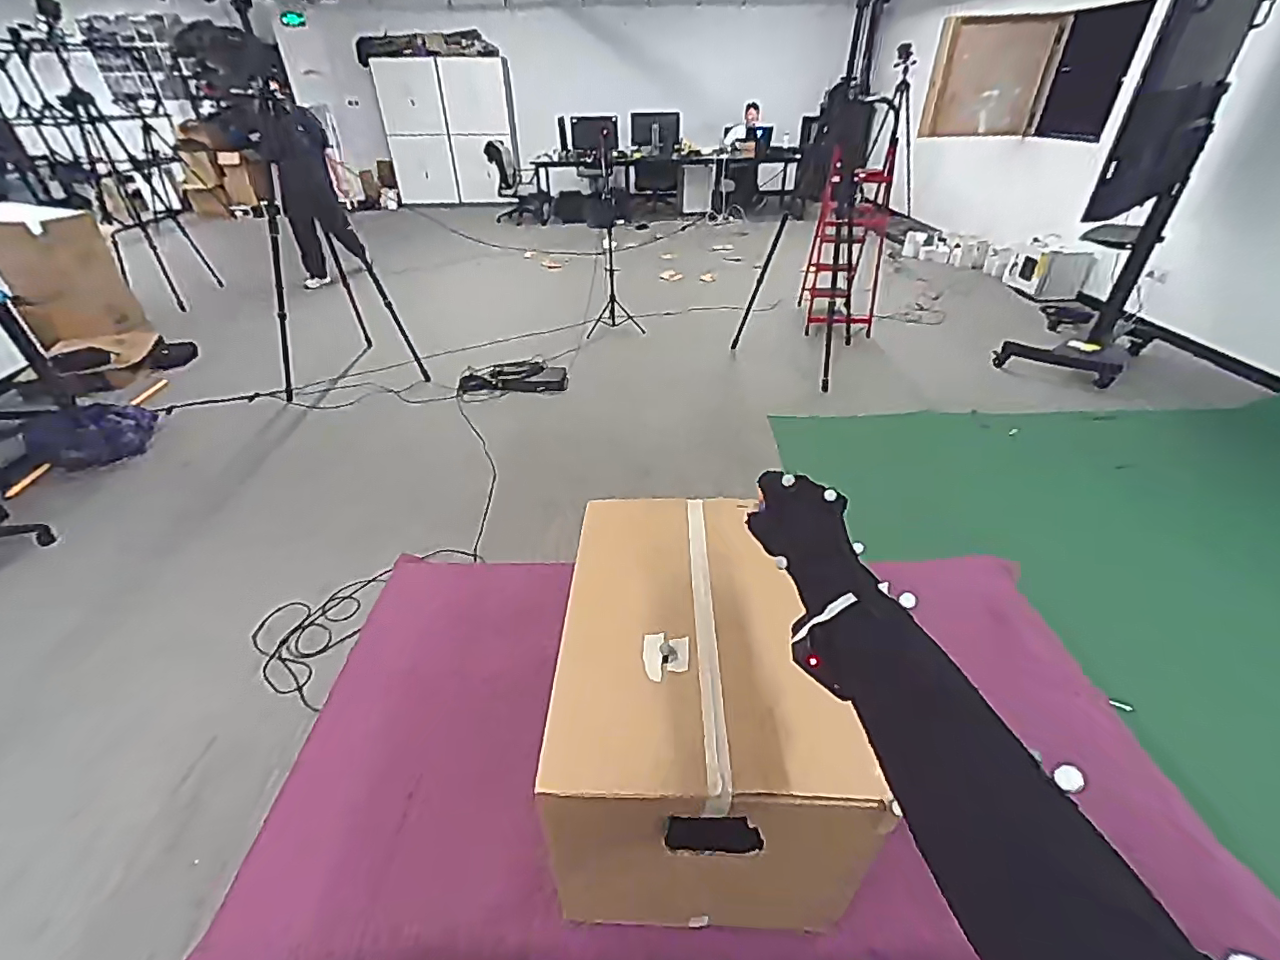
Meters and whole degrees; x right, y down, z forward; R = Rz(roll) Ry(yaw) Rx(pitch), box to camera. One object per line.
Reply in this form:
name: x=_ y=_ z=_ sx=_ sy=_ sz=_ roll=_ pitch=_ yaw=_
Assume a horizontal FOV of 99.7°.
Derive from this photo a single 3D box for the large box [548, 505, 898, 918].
large box: x=0.073 y=0.277 z=0.713 sx=0.320 sy=0.320 sz=0.408 roll=1 pitch=36 yaw=2
